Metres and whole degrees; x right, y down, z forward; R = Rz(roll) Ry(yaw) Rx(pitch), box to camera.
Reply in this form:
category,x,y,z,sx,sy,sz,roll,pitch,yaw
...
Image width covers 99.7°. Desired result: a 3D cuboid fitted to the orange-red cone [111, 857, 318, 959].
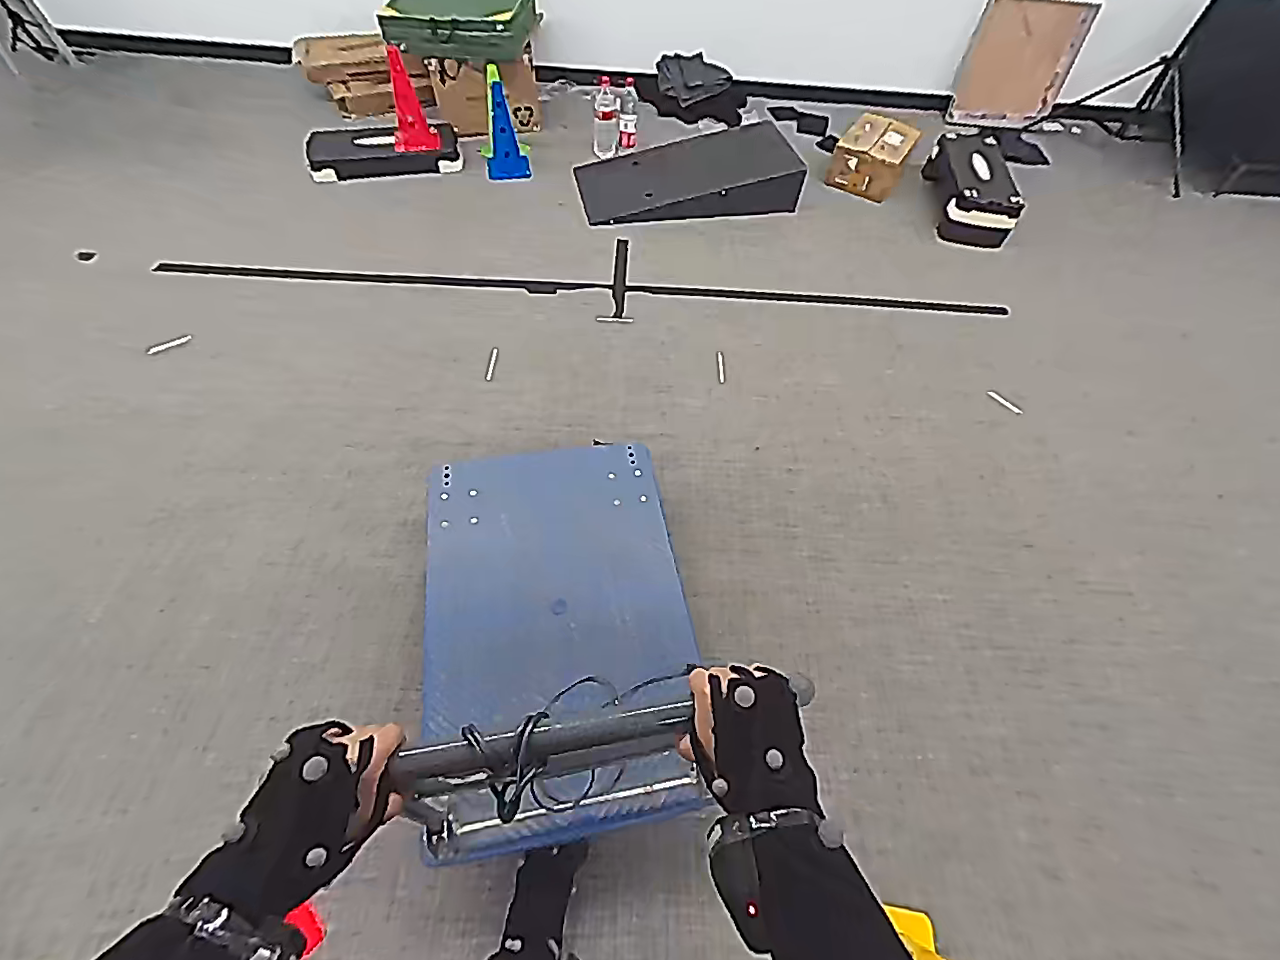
category,x,y,z,sx,sy,sz,roll,pitch,yaw
orange-red cone,-0.705,0.742,0.846,0.199,0.360,0.198,-36,66,-27
